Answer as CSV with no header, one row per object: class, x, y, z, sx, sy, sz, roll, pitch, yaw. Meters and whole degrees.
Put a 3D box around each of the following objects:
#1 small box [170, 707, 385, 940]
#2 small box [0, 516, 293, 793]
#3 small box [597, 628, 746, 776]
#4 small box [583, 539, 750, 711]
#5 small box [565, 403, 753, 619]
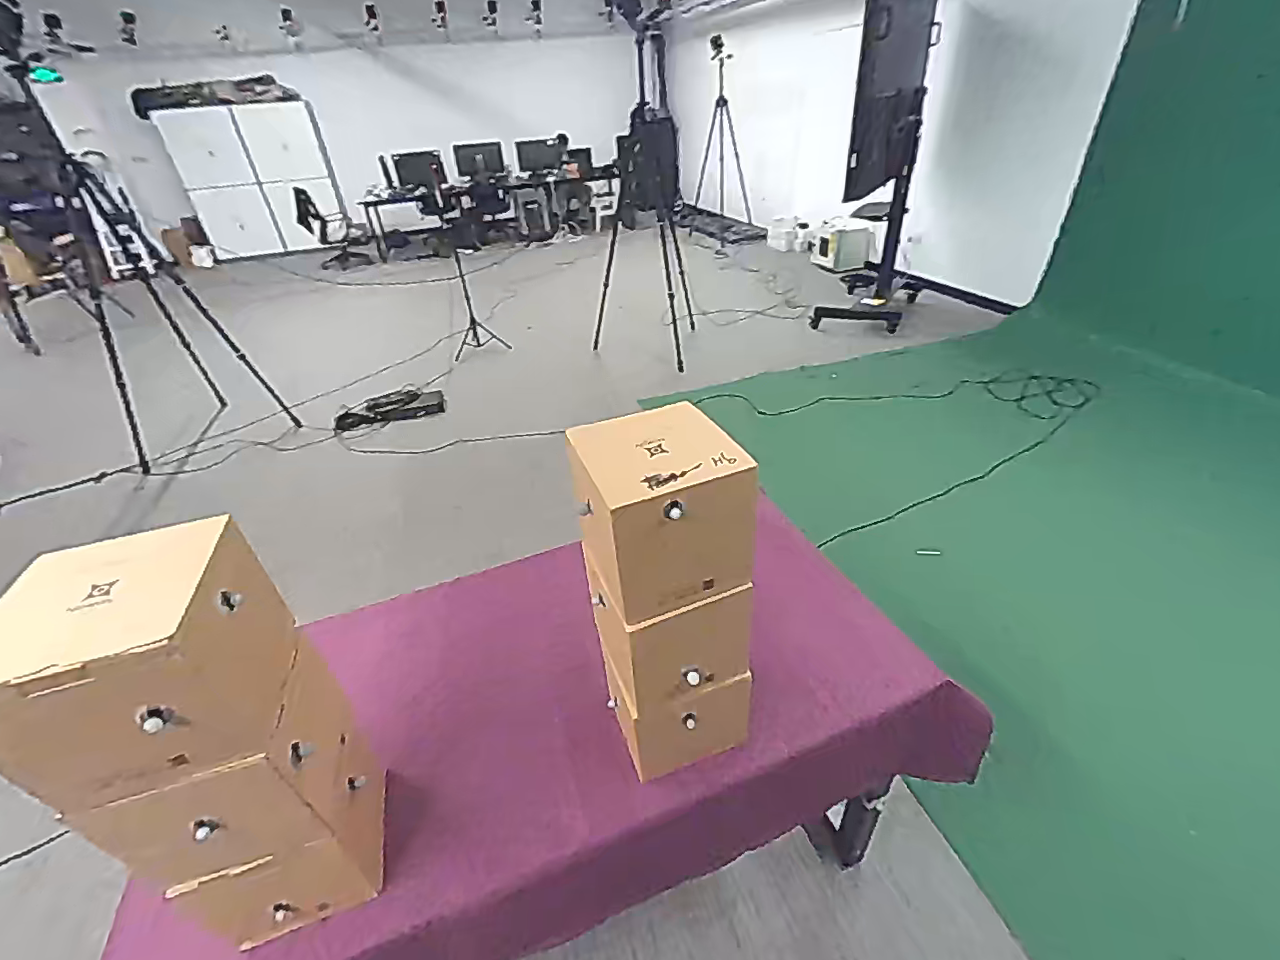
small box,-0.444,0.439,0.701,0.168,0.176,0.179,-15,36,-14
small box,-0.466,0.167,0.520,0.168,0.176,0.179,-13,35,-13
small box,0.047,0.310,0.820,0.179,0.176,0.168,-15,36,-13
small box,0.031,0.171,0.734,0.168,0.176,0.179,-17,37,-15
small box,0.019,0.031,0.647,0.168,0.176,0.179,-17,35,-14
